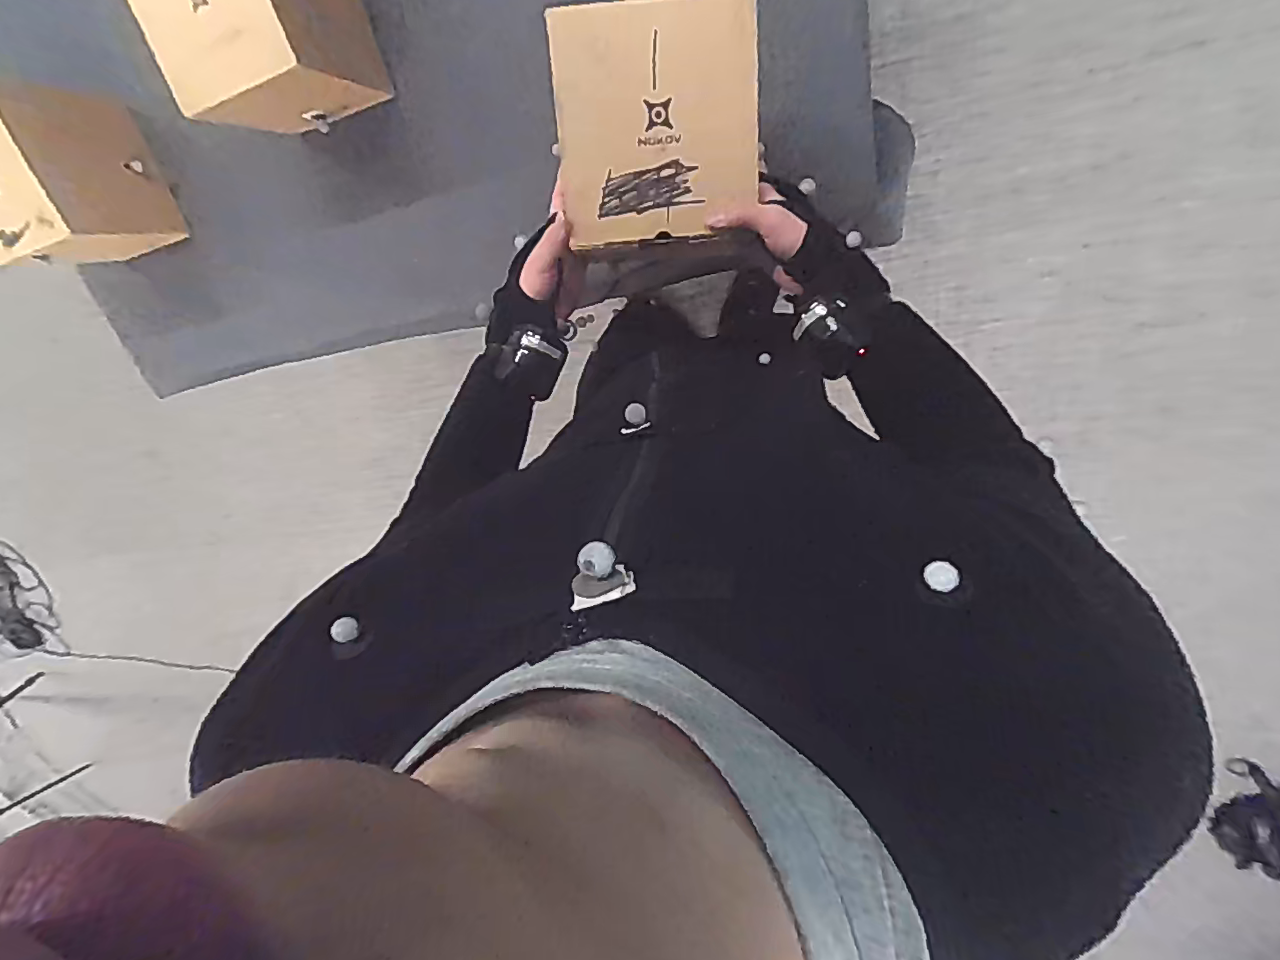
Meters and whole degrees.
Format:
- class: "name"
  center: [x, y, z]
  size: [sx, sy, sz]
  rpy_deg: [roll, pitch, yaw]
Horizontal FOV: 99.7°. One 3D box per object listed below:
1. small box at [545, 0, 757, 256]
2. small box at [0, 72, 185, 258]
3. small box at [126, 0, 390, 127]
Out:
- class: "small box"
  center: [0.013, -0.314, 0.514]
  size: [0.168, 0.176, 0.179]
  rpy_deg: [-4, 107, 1]
- class: "small box"
  center: [-0.790, -0.411, 0.732]
  size: [0.168, 0.176, 0.179]
  rpy_deg: [-8, 113, 16]
- class: "small box"
  center: [-0.421, -0.521, 0.597]
  size: [0.168, 0.176, 0.179]
  rpy_deg: [-8, 115, 18]
